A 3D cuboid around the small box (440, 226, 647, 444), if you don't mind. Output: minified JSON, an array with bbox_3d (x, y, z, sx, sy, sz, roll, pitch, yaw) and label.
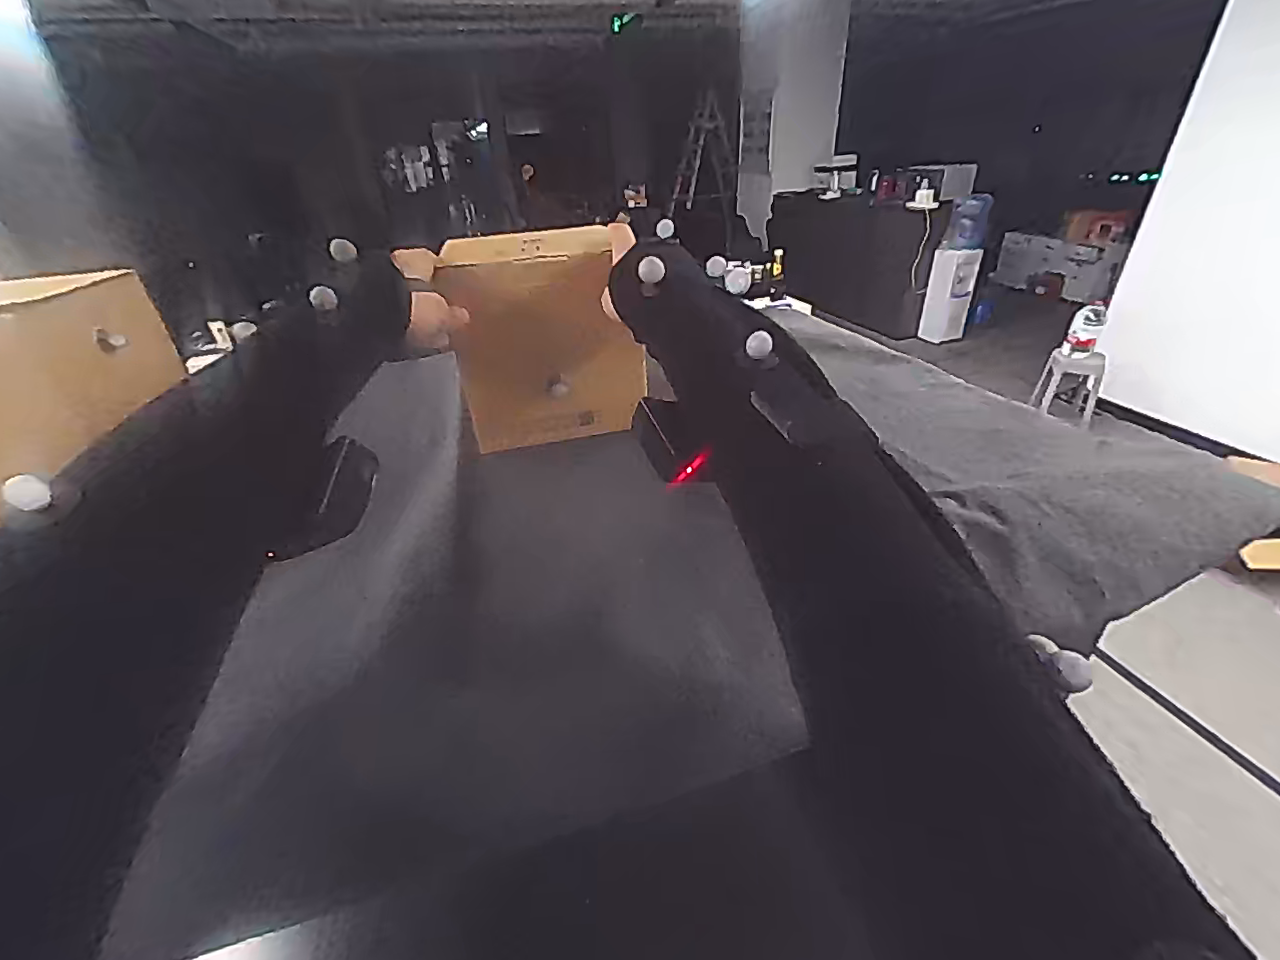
[{"bbox_3d":[-0.093,-0.153,0.549,0.168,0.176,0.179,-10,32,-10],"label":"small box"}]

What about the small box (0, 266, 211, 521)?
[{"bbox_3d":[-0.522,-0.075,0.468,0.168,0.176,0.179,-11,31,-12],"label":"small box"}]
